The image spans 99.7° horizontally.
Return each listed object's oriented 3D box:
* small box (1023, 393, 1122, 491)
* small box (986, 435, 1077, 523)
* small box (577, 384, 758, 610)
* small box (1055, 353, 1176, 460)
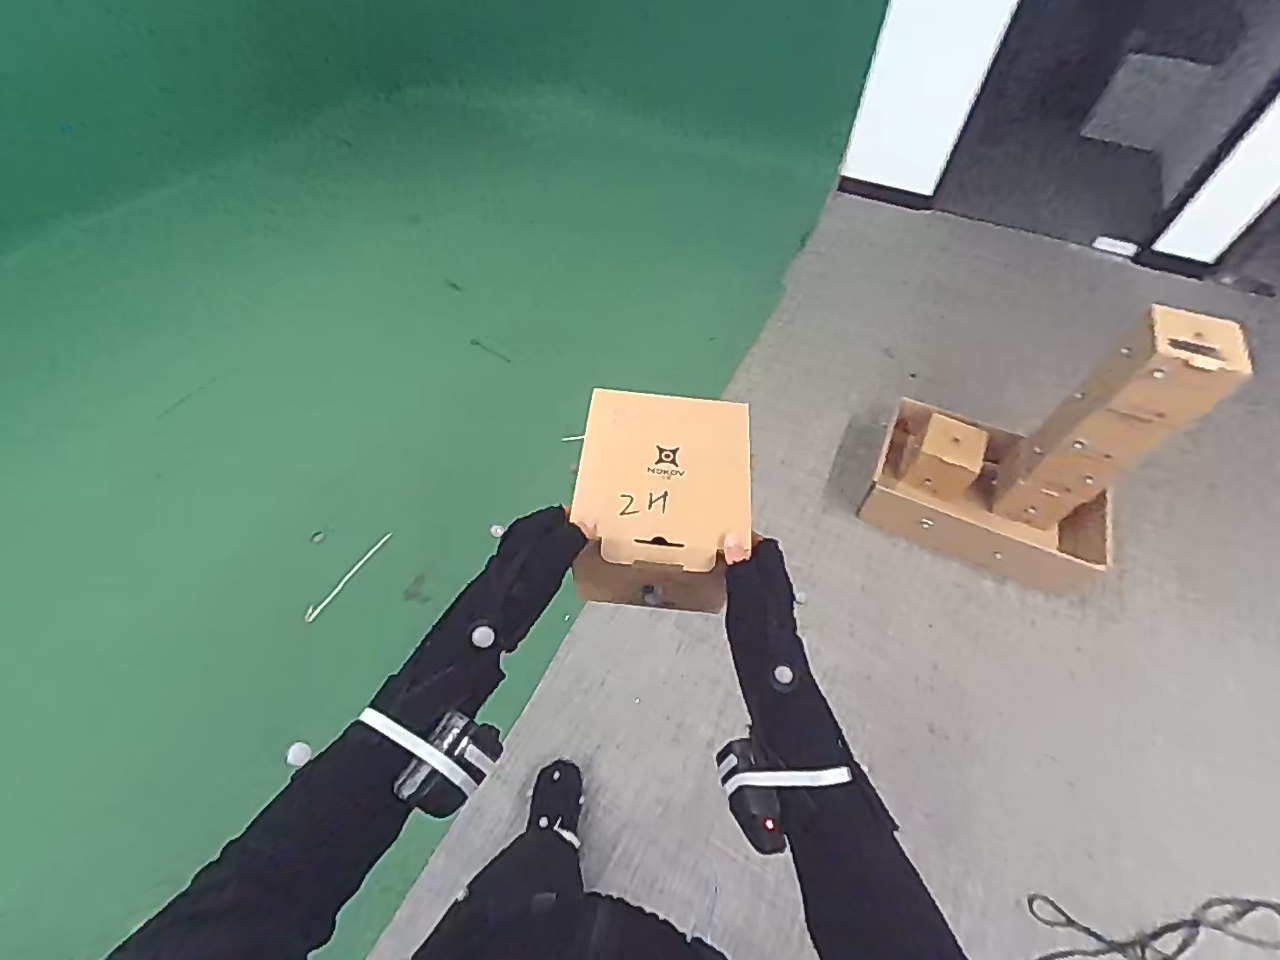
[{"bbox_3d":[1.177,-0.098,1.468,0.168,0.176,0.179,22,58,15],"label":"small box"},{"bbox_3d":[1.166,0.001,1.620,0.168,0.176,0.179,18,57,14],"label":"small box"},{"bbox_3d":[0.028,0.023,0.589,0.168,0.176,0.179,7,58,1],"label":"small box"},{"bbox_3d":[1.172,-0.178,1.344,0.168,0.176,0.179,23,58,15],"label":"small box"}]
